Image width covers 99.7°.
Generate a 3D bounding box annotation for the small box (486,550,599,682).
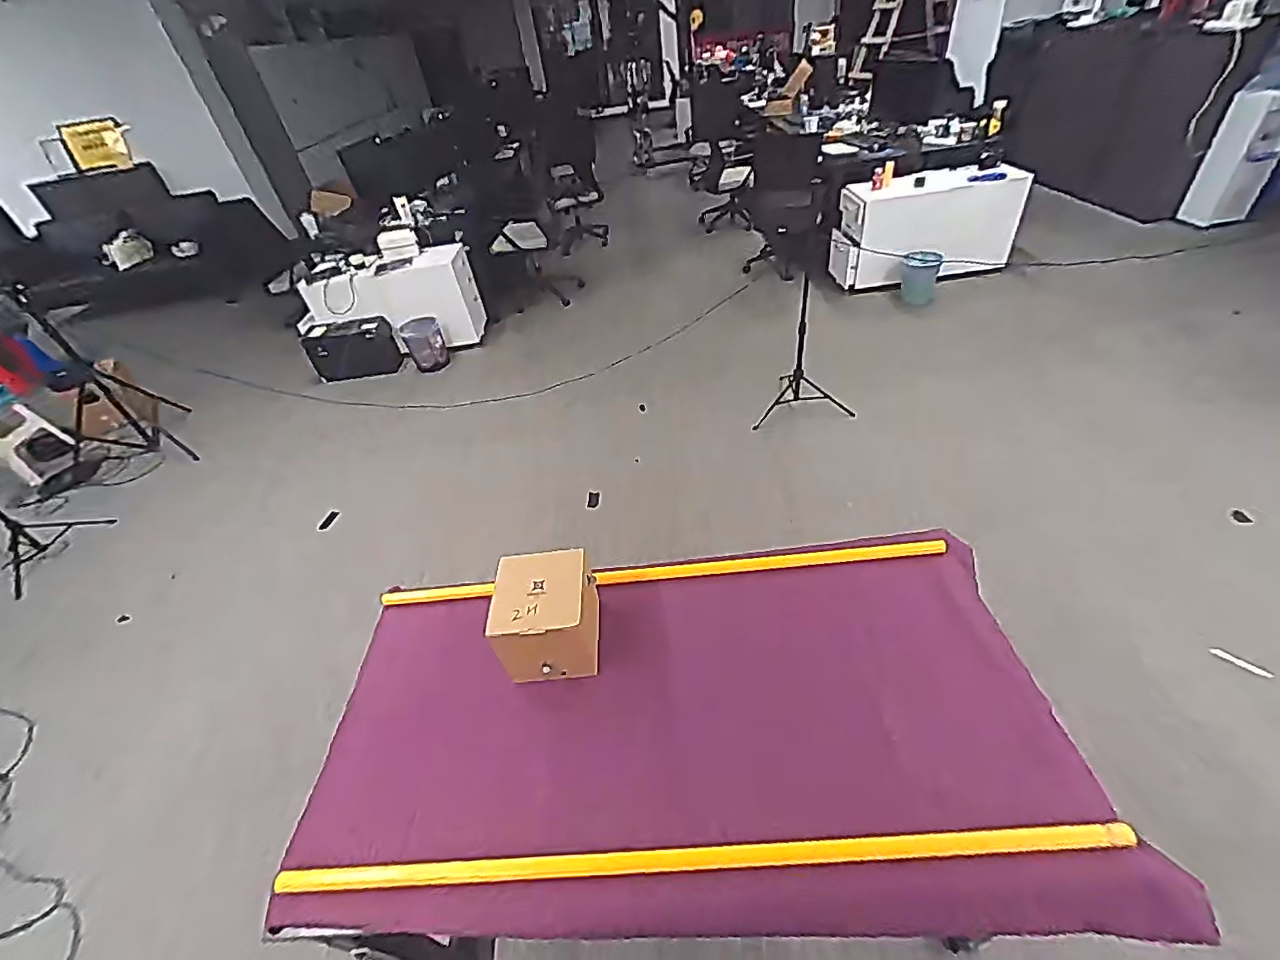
[{"bbox_3d":[-0.174,0.259,1.027,0.168,0.176,0.179,-6,42,4],"label":"small box"}]
